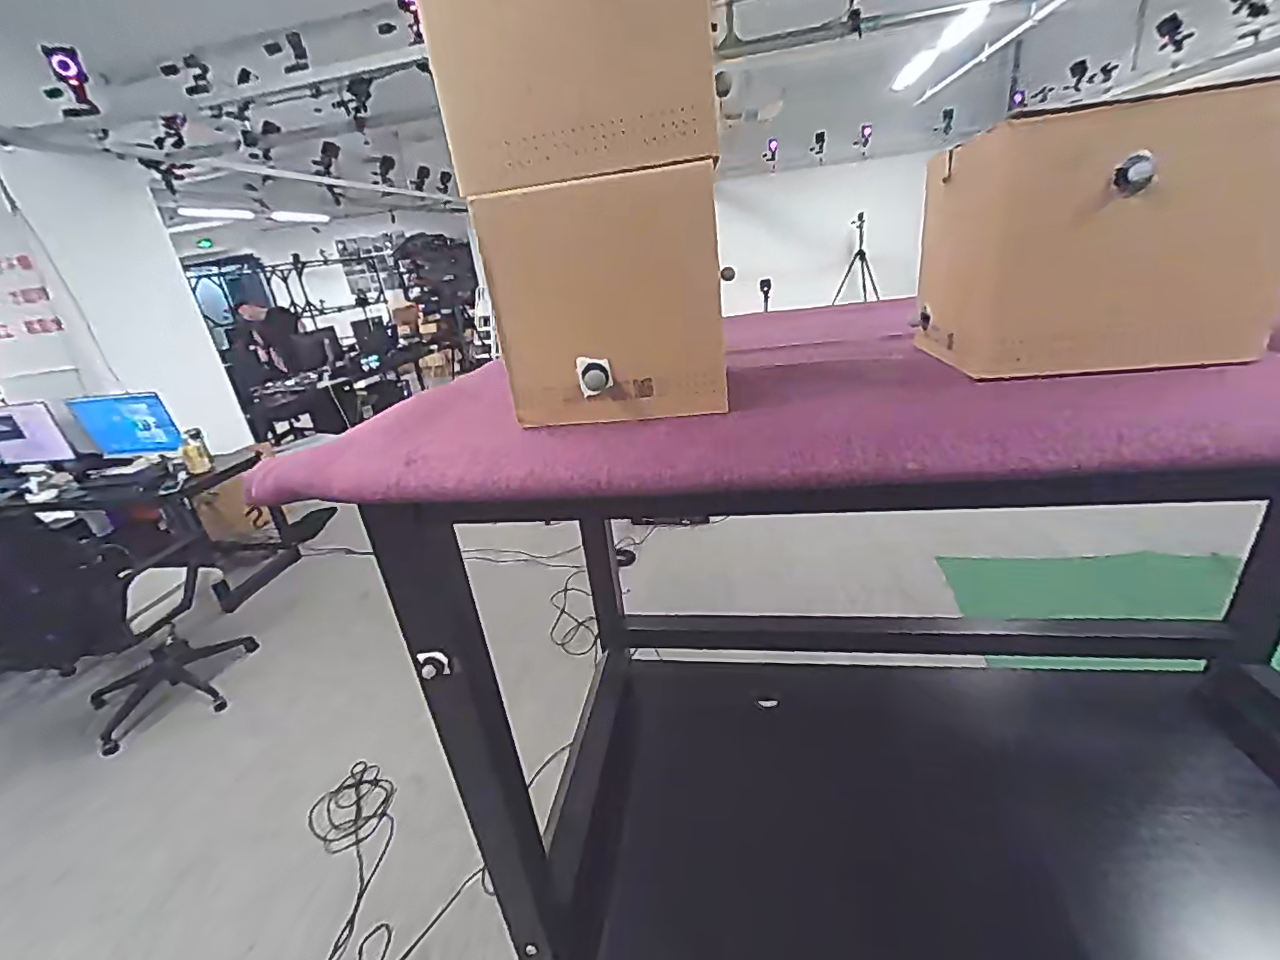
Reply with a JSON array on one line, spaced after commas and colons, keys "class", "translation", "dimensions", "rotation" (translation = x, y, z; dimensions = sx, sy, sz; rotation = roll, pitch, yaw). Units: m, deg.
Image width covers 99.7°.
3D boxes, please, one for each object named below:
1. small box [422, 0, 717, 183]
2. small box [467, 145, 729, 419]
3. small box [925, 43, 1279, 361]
[{"class": "small box", "translation": [-0.042, -0.309, 0.387], "dimensions": [0.179, 0.176, 0.168], "rotation": [-5, 24, 8]}, {"class": "small box", "translation": [-0.016, -0.158, 0.449], "dimensions": [0.168, 0.176, 0.179], "rotation": [-5, 24, 9]}, {"class": "small box", "translation": [0.331, -0.190, 0.410], "dimensions": [0.179, 0.176, 0.168], "rotation": [-2, 22, 12]}]
